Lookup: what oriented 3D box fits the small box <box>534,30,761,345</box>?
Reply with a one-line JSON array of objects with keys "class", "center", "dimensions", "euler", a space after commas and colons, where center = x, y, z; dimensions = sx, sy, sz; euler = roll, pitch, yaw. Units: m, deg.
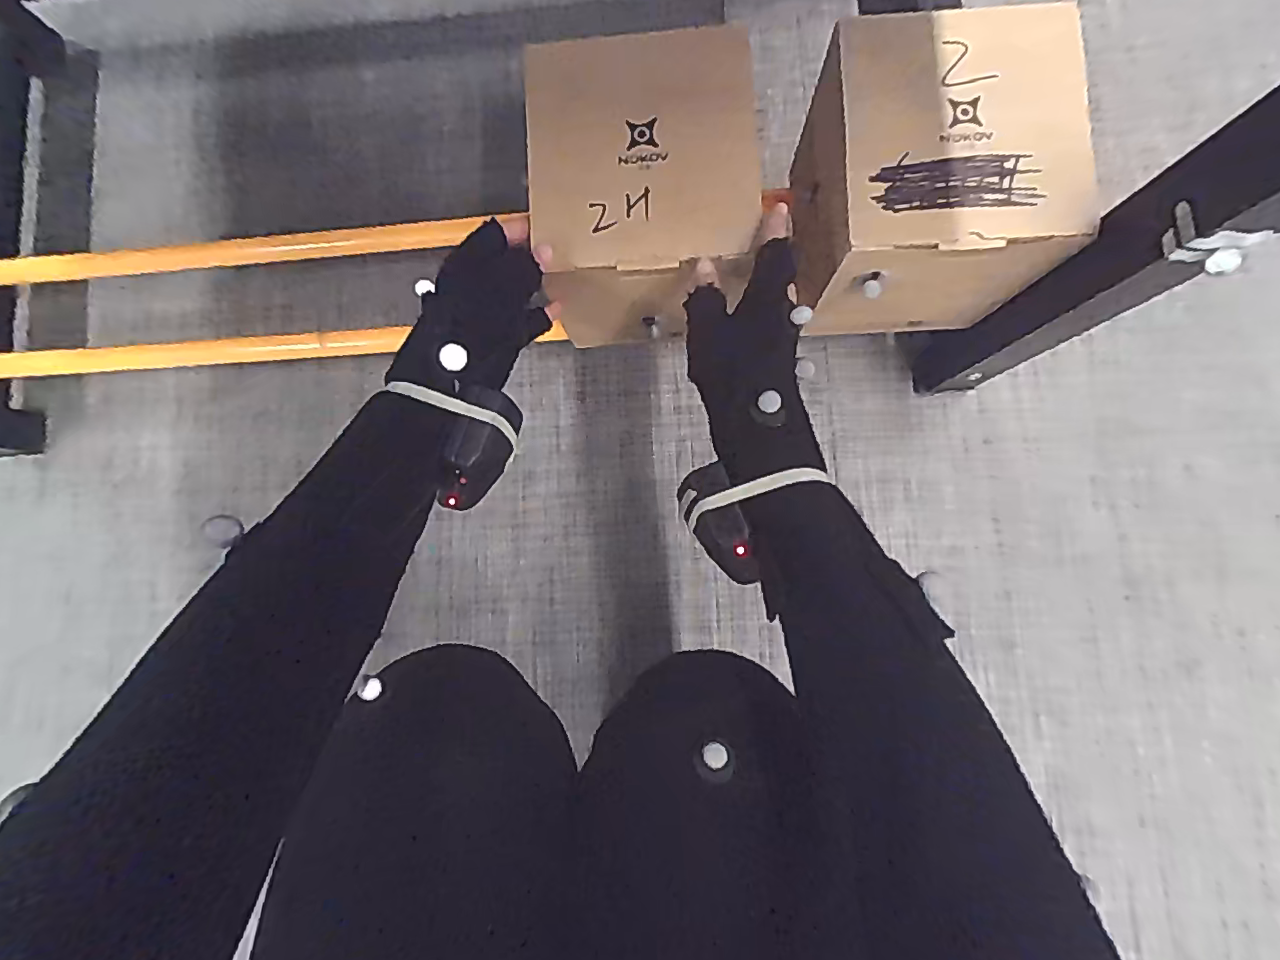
[{"class": "small box", "center": [0.009, -0.235, 0.475], "dimensions": [0.168, 0.176, 0.179], "euler": [-3, 84, 5]}]
